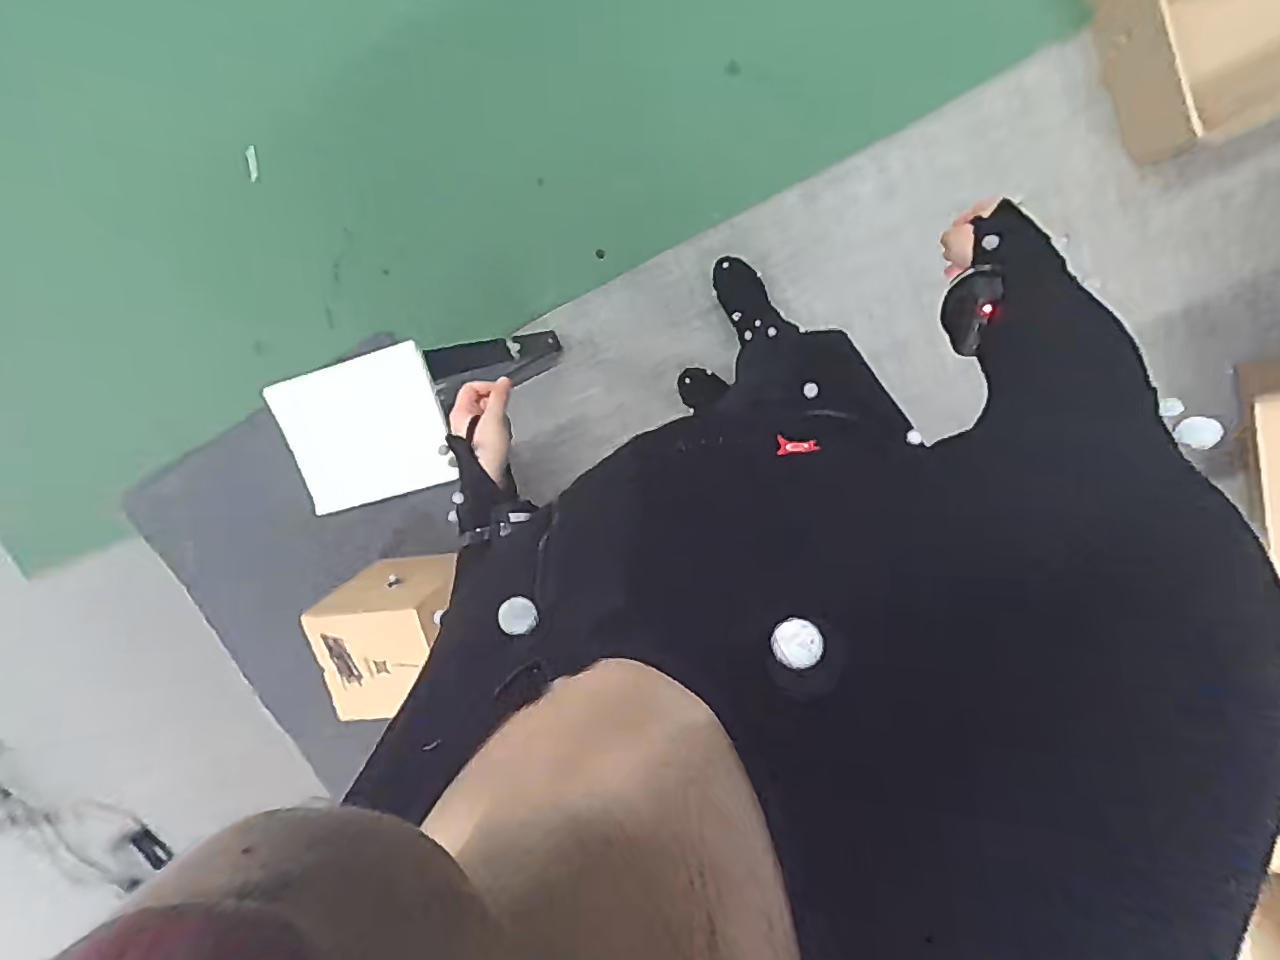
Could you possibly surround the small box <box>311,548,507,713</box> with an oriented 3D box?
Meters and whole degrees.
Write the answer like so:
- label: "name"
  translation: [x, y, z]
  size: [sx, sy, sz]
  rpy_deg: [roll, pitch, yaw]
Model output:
- label: "small box"
  translation: [-0.322, 0.213, 0.788]
  size: [0.179, 0.176, 0.168]
  rpy_deg: [-8, 107, 12]
